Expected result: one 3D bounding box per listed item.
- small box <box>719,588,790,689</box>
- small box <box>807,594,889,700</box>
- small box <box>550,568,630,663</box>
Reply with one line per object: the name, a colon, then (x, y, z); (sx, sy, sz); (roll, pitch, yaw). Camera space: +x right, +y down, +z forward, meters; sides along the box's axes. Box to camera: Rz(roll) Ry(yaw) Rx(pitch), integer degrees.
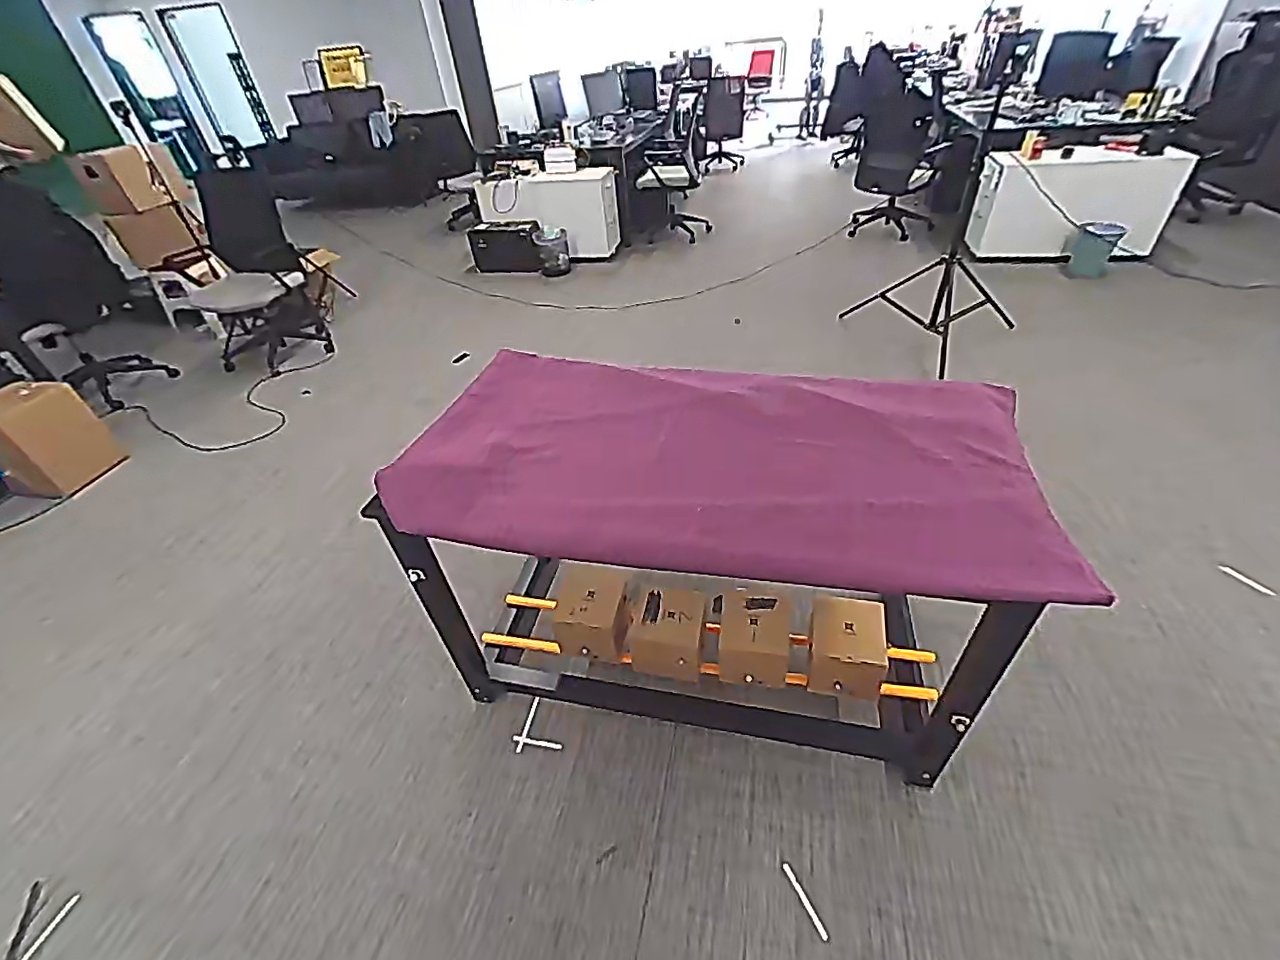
small box: (0.290, 0.402, 1.379); (0.168, 0.176, 0.179); (3, 43, 12)
small box: (0.505, 0.411, 1.335); (0.168, 0.176, 0.179); (5, 43, 15)
small box: (-0.126, 0.367, 1.470); (0.168, 0.176, 0.179); (5, 43, 13)
